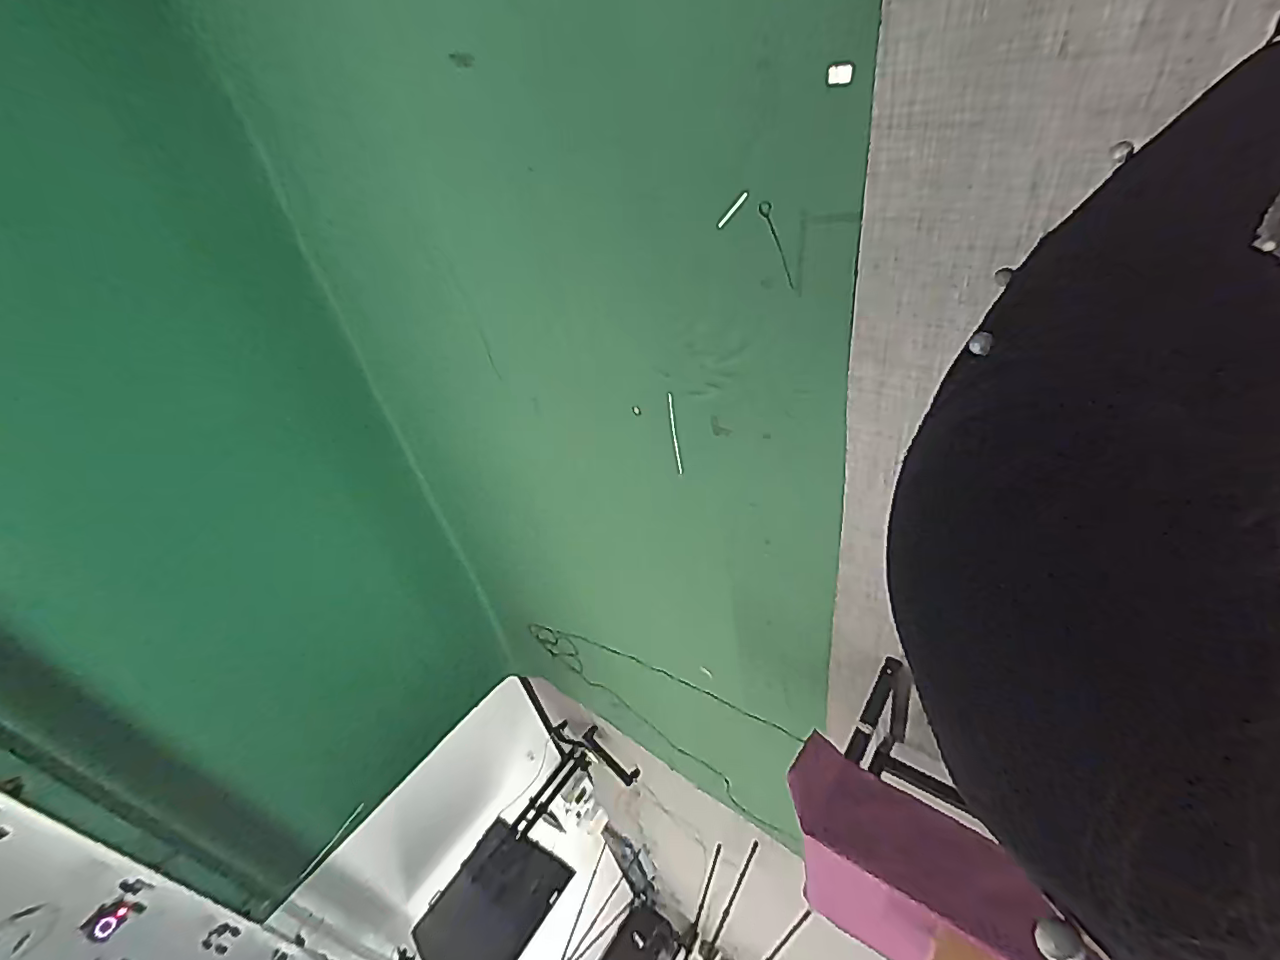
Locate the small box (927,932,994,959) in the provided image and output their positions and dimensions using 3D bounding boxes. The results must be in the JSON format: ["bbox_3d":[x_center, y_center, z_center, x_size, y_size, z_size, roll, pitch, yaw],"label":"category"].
[{"bbox_3d":[0.822,1.294,1.367,0.179,0.176,0.168,17,136,34],"label":"small box"}]
